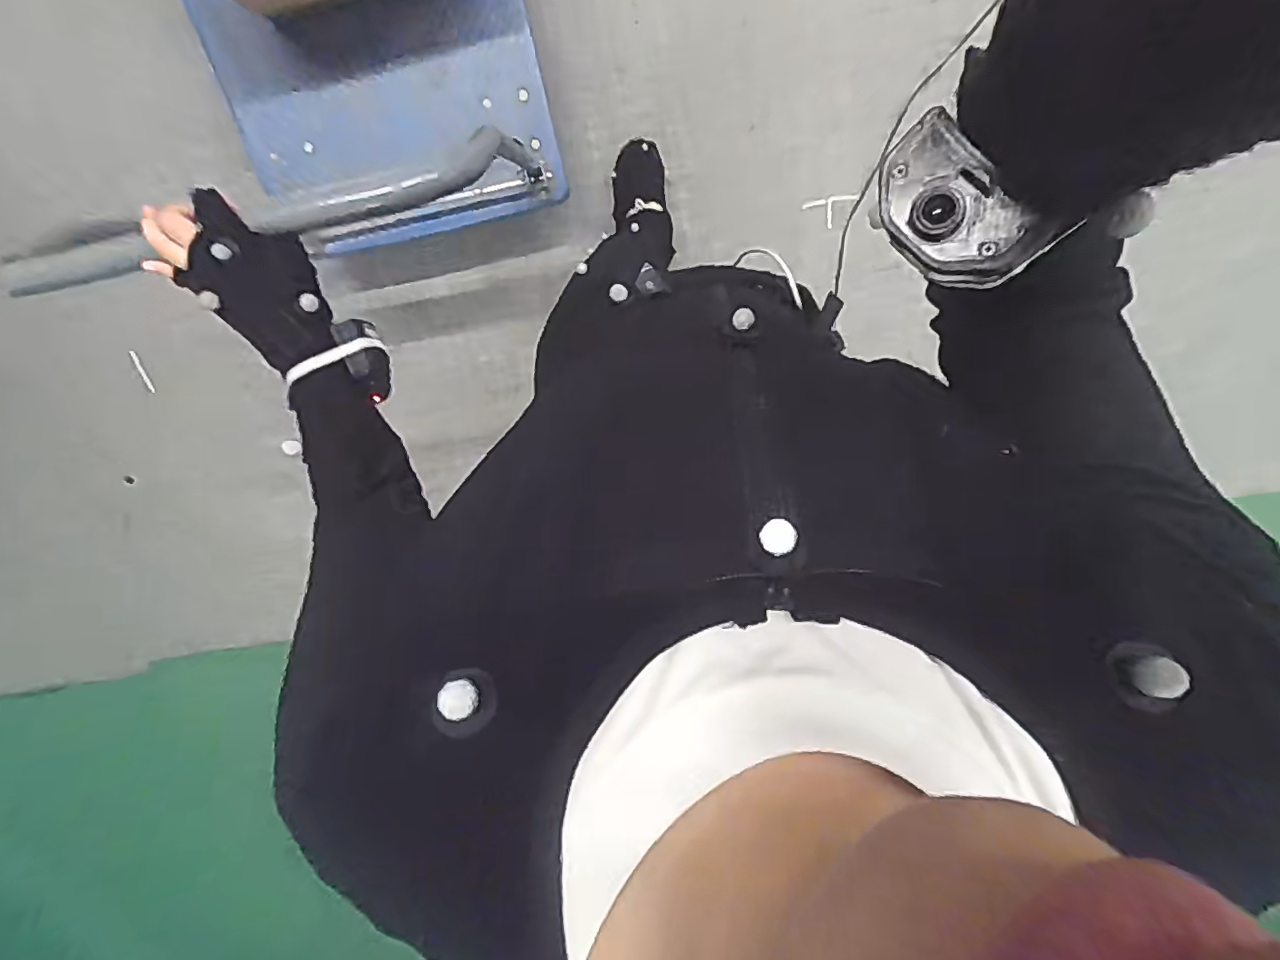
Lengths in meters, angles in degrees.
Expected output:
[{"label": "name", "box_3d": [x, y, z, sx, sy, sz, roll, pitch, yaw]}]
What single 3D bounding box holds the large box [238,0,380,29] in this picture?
[{"label": "large box", "box_3d": [-0.474, -0.920, 0.756, 0.408, 0.320, 0.320, -13, 113, 5]}]
